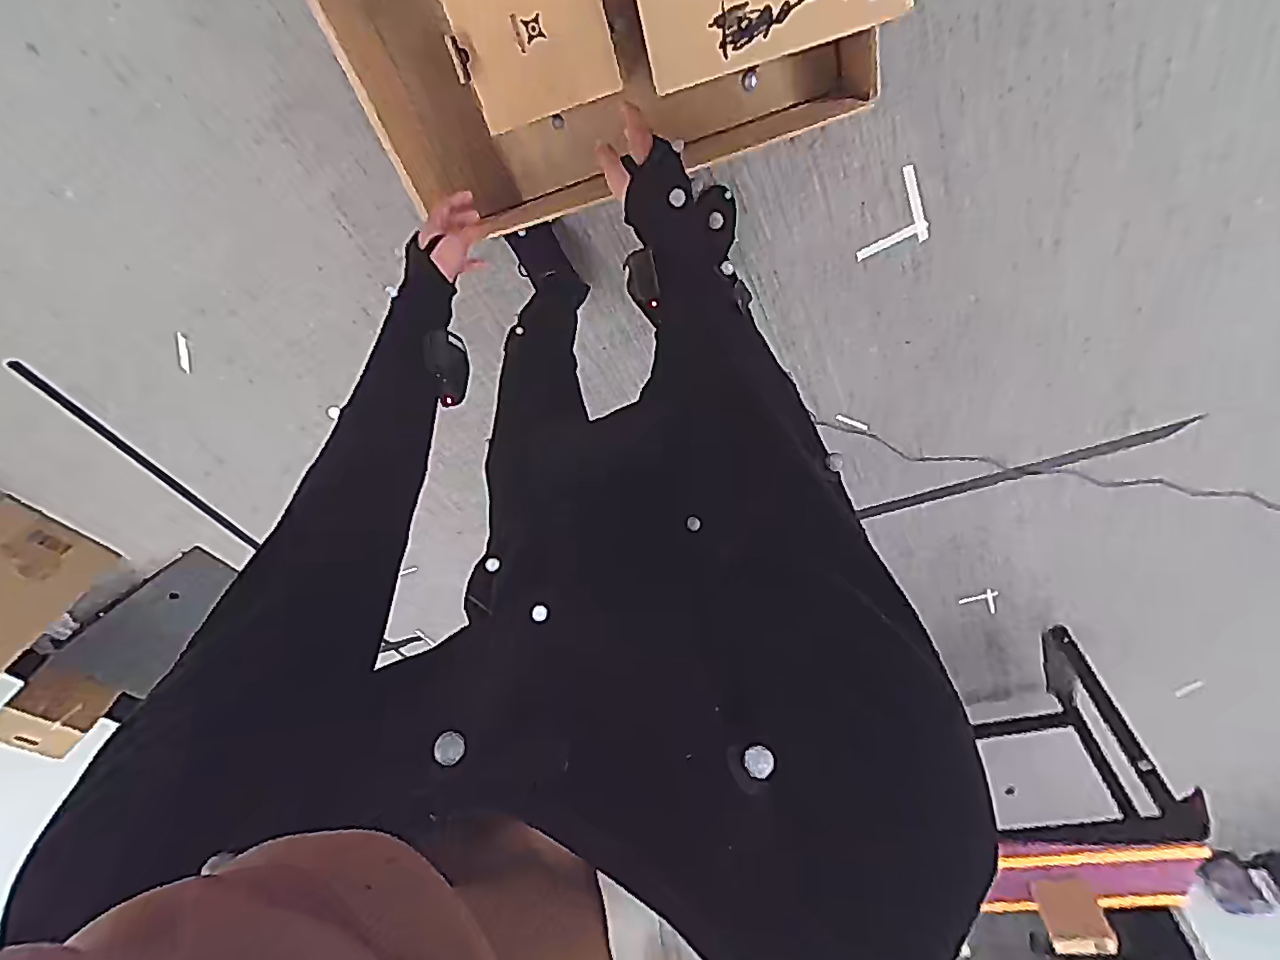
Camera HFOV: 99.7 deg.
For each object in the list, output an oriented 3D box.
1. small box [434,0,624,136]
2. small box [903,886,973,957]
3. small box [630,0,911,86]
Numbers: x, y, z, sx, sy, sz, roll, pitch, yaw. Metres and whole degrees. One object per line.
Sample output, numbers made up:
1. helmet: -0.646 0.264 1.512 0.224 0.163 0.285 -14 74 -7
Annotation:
1. small box: -0.123 -0.549 0.658 0.179 0.176 0.168 -12 127 13
2. small box: 1.091 1.629 1.995 0.179 0.176 0.168 -22 124 20
3. small box: 0.069 -0.385 0.351 0.168 0.176 0.179 -9 127 14
